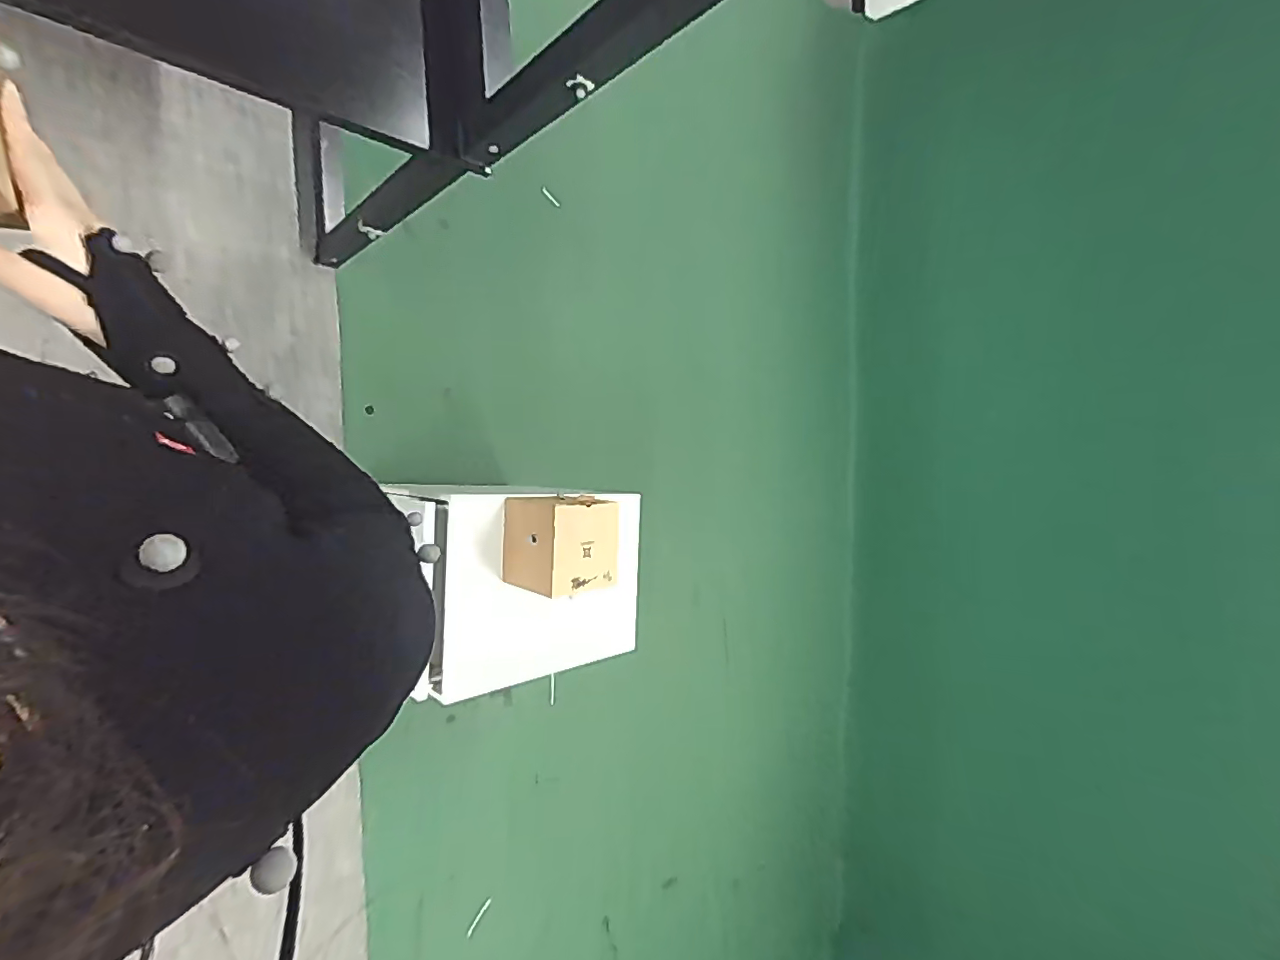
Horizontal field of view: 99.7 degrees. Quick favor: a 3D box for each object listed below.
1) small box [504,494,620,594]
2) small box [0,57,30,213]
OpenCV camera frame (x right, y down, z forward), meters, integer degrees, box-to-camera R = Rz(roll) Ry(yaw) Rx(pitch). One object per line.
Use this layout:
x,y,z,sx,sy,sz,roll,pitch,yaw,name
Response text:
-0.158,0.117,1.083,0.168,0.176,0.179,0,93,-46,small box
-0.423,-0.231,0.229,0.179,0.176,0.168,-11,99,-37,small box
